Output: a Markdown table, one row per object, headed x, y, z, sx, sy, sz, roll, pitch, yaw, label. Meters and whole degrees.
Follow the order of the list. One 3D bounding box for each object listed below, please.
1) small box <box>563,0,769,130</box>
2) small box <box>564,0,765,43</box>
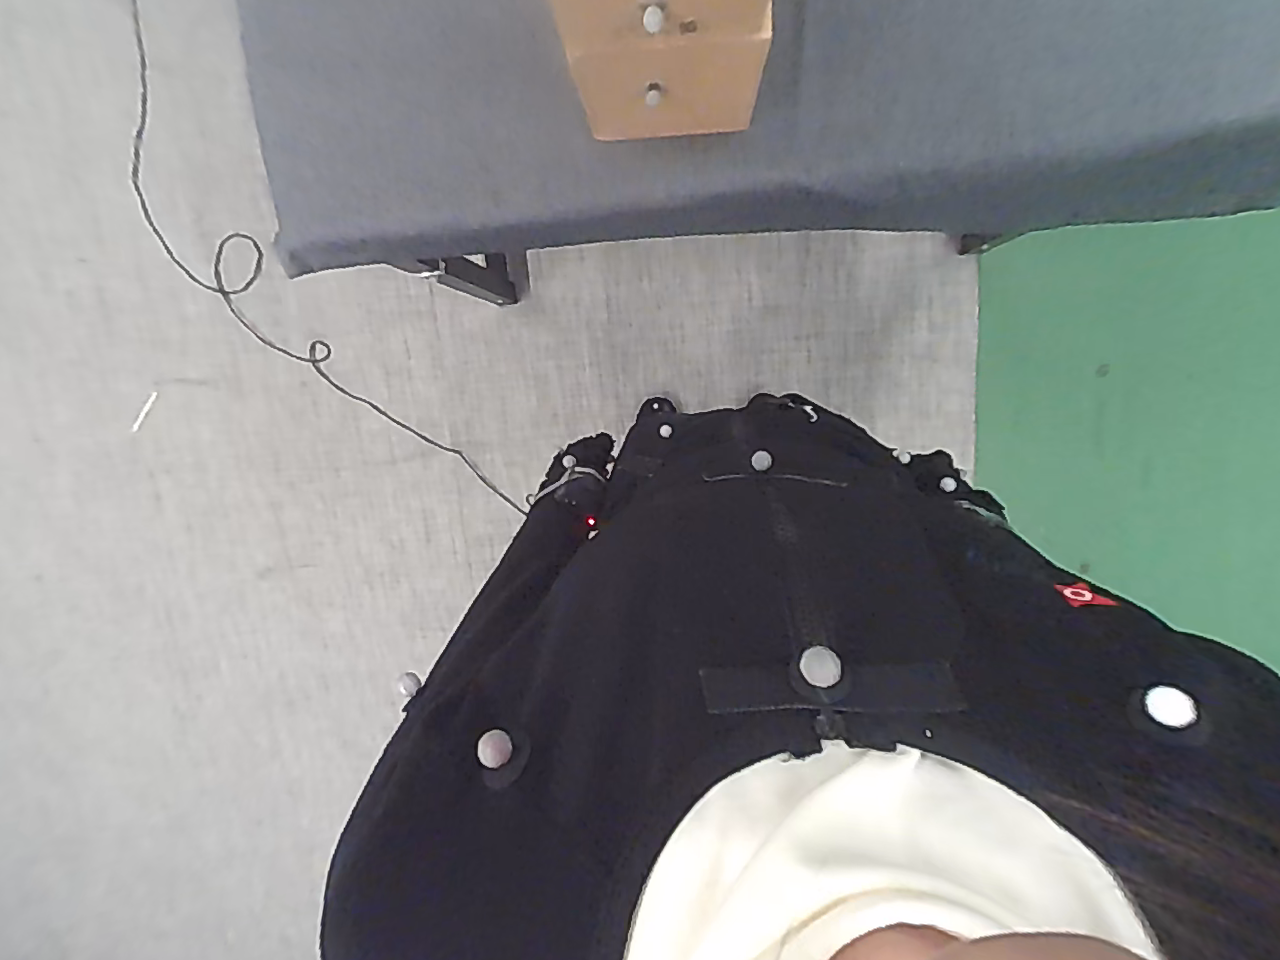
| x | y | z | sx | sy | sz | roll | pitch | yaw | label |
| --- | --- | --- | --- | --- | --- | --- | --- | --- | --- |
| 0.028 | -0.465 | 0.523 | 0.179 | 0.176 | 0.168 | 0 | 100 | 5 | small box |
| 0.012 | -0.443 | 0.361 | 0.168 | 0.176 | 0.179 | -1 | 100 | 4 | small box |
